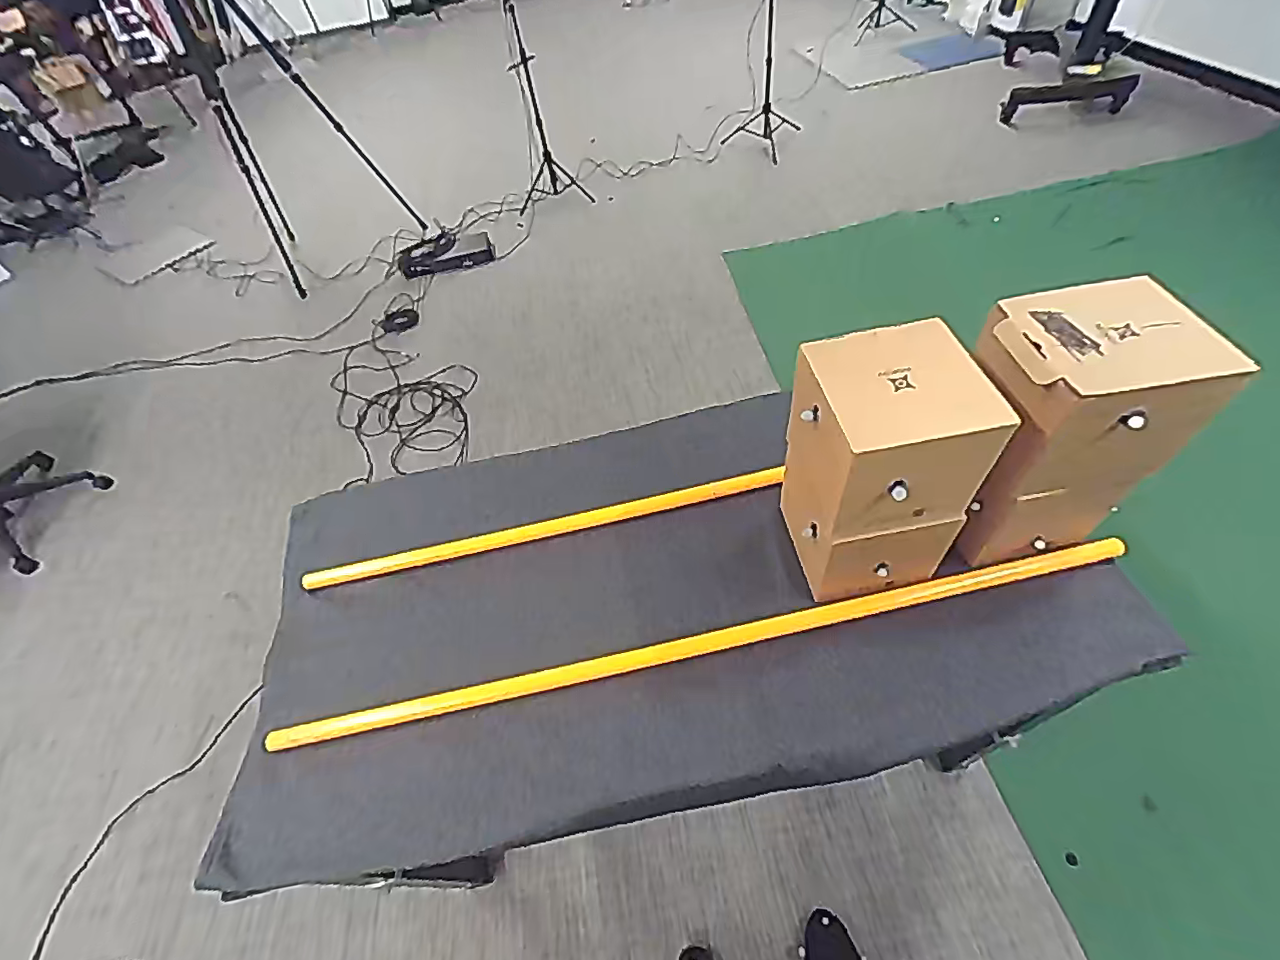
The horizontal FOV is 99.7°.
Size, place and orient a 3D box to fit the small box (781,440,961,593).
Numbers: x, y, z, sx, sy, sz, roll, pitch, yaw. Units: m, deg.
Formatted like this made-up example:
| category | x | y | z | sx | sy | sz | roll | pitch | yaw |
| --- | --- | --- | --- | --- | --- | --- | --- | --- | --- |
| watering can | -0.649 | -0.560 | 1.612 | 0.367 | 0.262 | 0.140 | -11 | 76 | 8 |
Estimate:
| category | x | y | z | sx | sy | sz | roll | pitch | yaw |
| --- | --- | --- | --- | --- | --- | --- | --- | --- | --- |
| small box | 0.306 | 0.045 | 0.759 | 0.168 | 0.176 | 0.179 | -11 | 52 | 1 |

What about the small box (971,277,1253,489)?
| category | x | y | z | sx | sy | sz | roll | pitch | yaw |
| --- | --- | --- | --- | --- | --- | --- | --- | --- | --- |
| small box | 0.507 | -0.106 | 0.632 | 0.179 | 0.176 | 0.168 | -9 | 53 | 2 |

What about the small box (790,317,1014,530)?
| category | x | y | z | sx | sy | sz | roll | pitch | yaw |
| --- | --- | --- | --- | --- | --- | --- | --- | --- | --- |
| small box | 0.283 | -0.057 | 0.634 | 0.168 | 0.176 | 0.179 | -11 | 51 | 2 |
